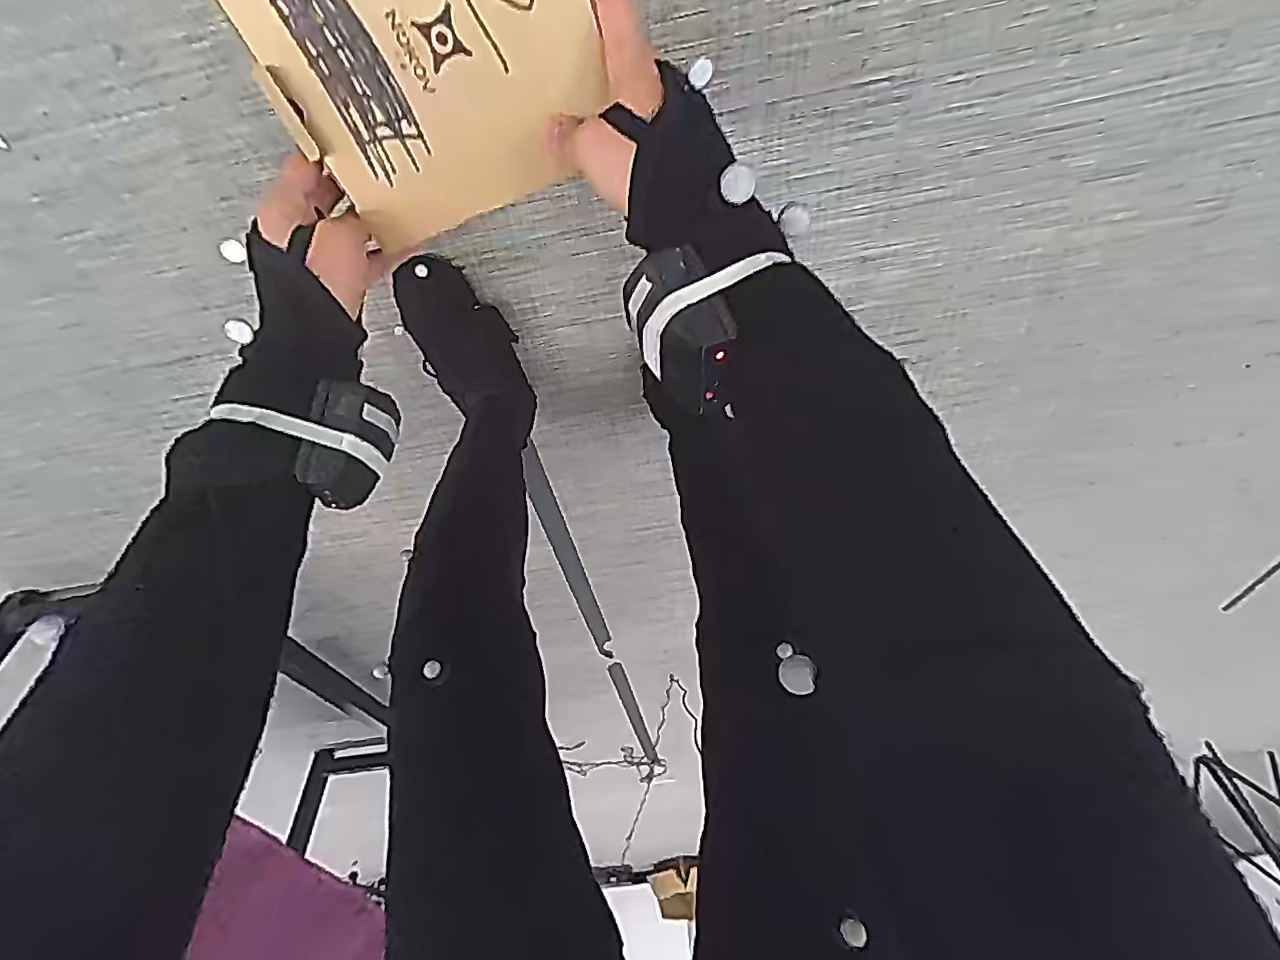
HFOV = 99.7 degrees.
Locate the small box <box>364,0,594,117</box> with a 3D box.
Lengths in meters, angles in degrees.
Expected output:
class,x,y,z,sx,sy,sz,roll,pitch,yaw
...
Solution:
class,x,y,z,sx,sy,sz,roll,pitch,yaw
small box,-0.137,-0.444,0.453,0.168,0.176,0.179,-11,136,7
